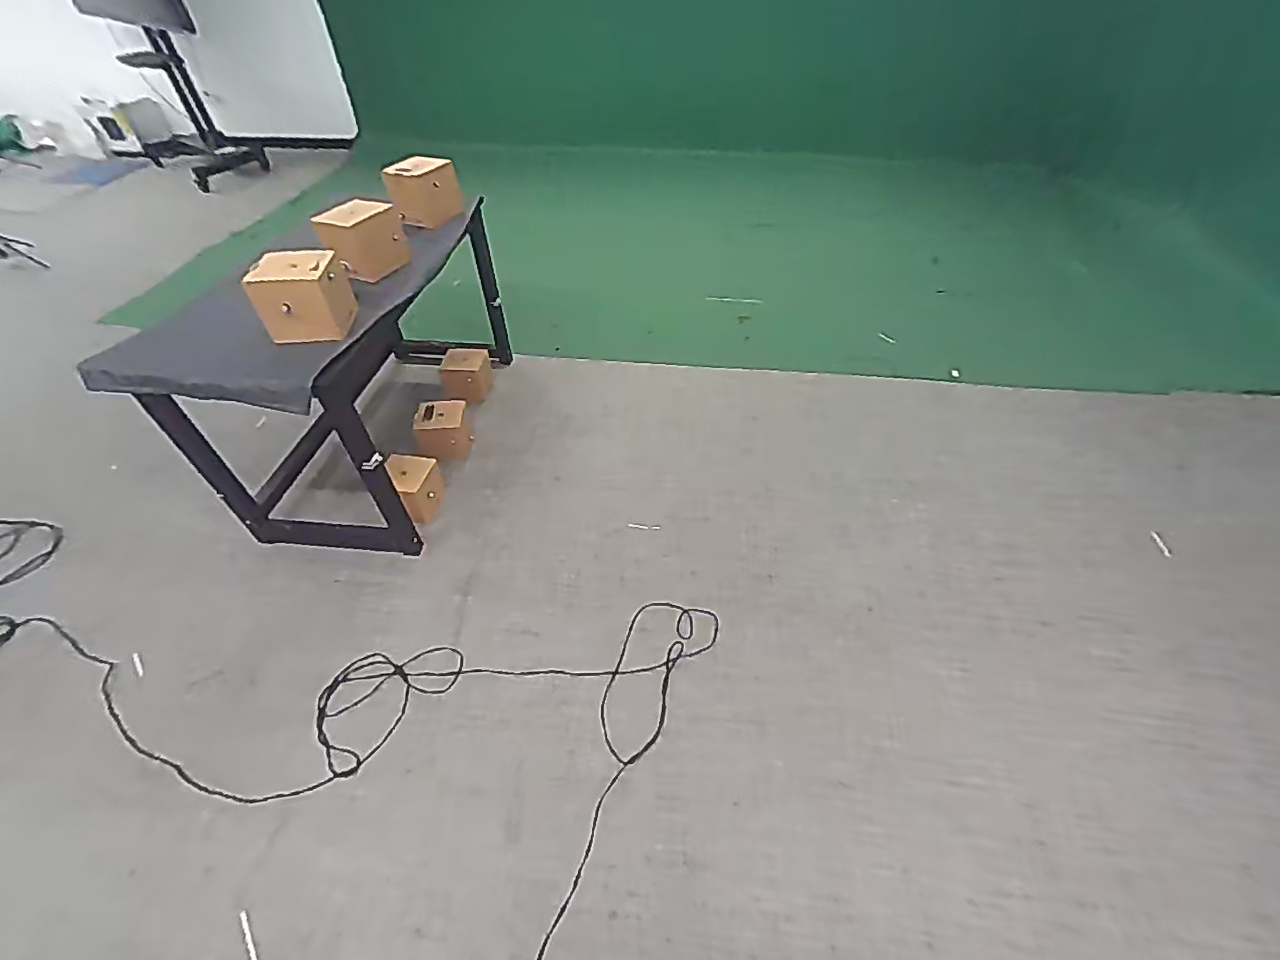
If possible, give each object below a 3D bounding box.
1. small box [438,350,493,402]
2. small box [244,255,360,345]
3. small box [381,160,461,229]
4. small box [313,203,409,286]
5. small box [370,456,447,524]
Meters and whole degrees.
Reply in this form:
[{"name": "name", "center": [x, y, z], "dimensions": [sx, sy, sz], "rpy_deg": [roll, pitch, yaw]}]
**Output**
[{"name": "small box", "center": [-0.764, -0.457, 2.391], "dimensions": [0.179, 0.176, 0.168], "rpy_deg": [1, 46, 1]}, {"name": "small box", "center": [-0.861, -0.462, 1.397], "dimensions": [0.179, 0.176, 0.168], "rpy_deg": [-5, 47, -4]}, {"name": "small box", "center": [-0.758, -1.001, 1.898], "dimensions": [0.168, 0.176, 0.179], "rpy_deg": [19, 51, 20]}, {"name": "small box", "center": [-0.831, -0.713, 1.635], "dimensions": [0.168, 0.176, 0.179], "rpy_deg": [17, 51, 20]}, {"name": "small box", "center": [-0.817, 0.039, 1.929], "dimensions": [0.179, 0.176, 0.168], "rpy_deg": [7, 47, 8]}]
